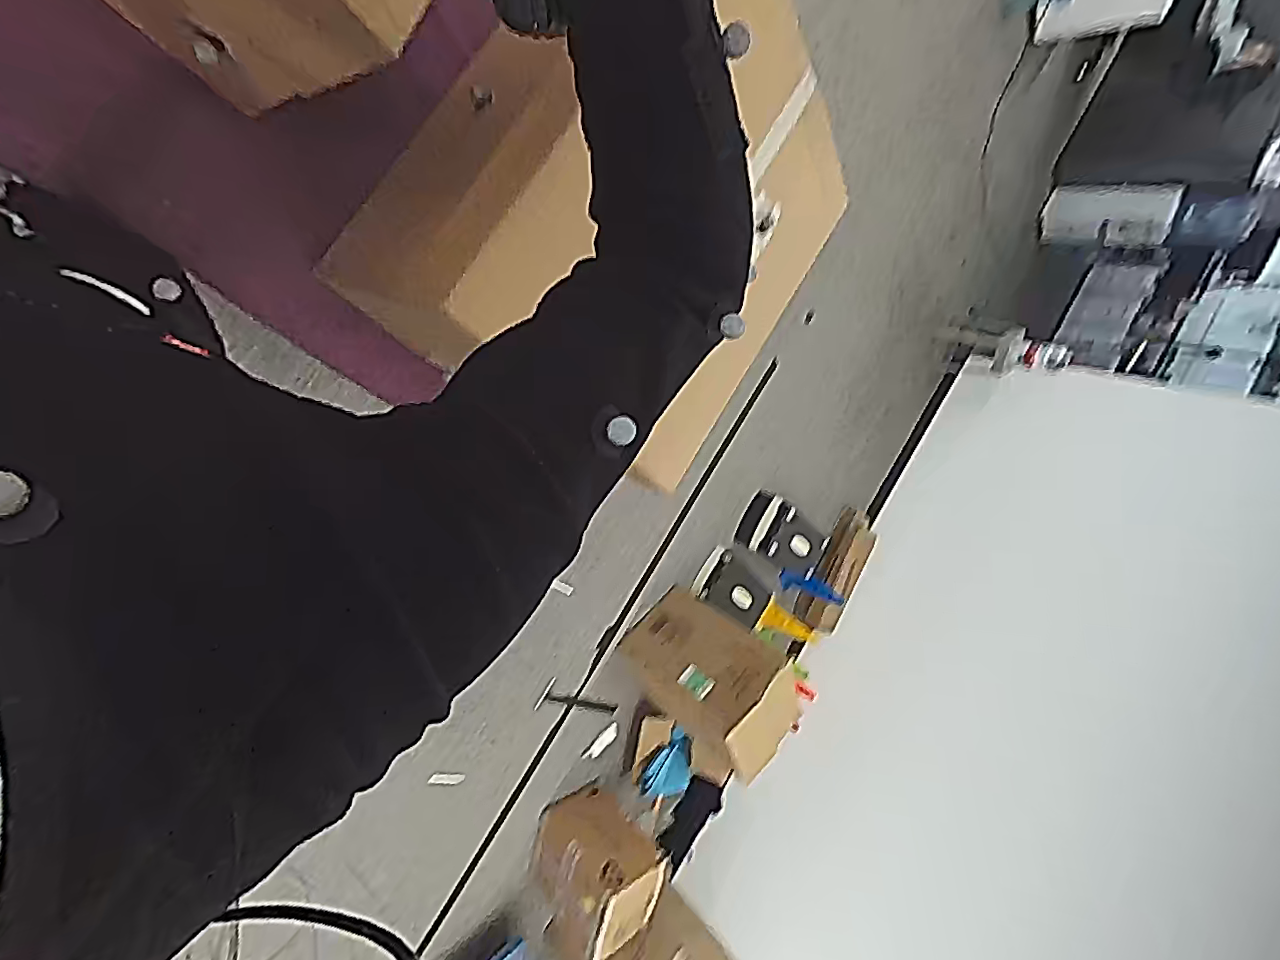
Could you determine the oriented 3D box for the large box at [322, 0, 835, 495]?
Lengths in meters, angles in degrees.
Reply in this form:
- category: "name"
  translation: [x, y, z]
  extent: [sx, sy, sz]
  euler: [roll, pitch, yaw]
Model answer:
- category: "large box"
  translation: [-0.053, -0.257, 0.589]
  extent: [0.408, 0.320, 0.320]
  euler: [-59, 140, -8]
